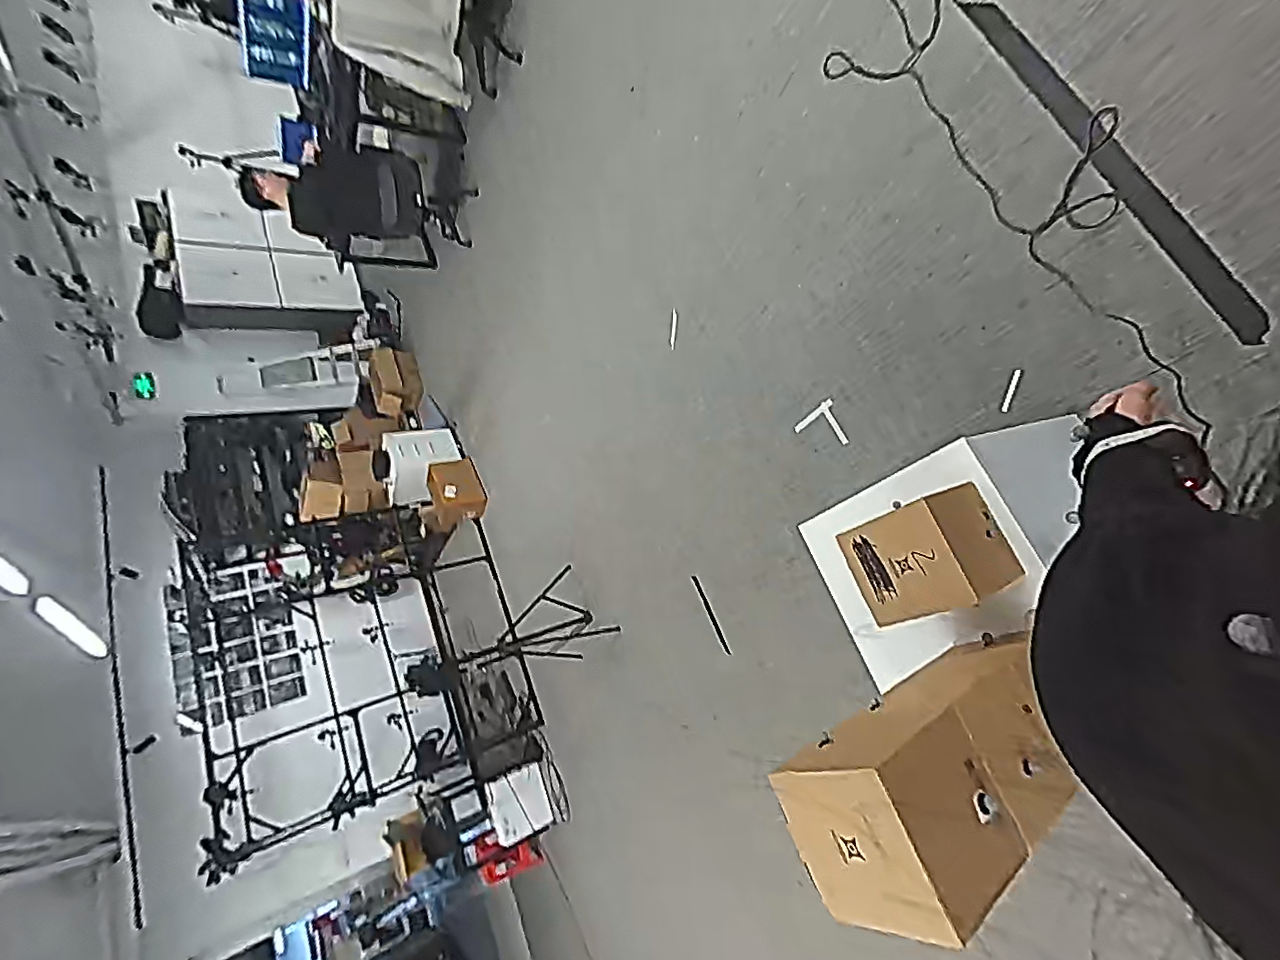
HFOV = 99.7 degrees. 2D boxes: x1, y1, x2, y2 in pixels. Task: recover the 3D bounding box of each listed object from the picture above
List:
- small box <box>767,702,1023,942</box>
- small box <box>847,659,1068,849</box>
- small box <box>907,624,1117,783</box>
[{"bbox_3d":[0.291,0.380,0.631,0.179,0.176,0.168,-45,63,49],"label":"small box"},{"bbox_3d":[0.424,0.356,0.722,0.179,0.176,0.168,-45,62,50],"label":"small box"},{"bbox_3d":[0.556,0.333,0.816,0.179,0.176,0.168,-44,63,51],"label":"small box"}]
